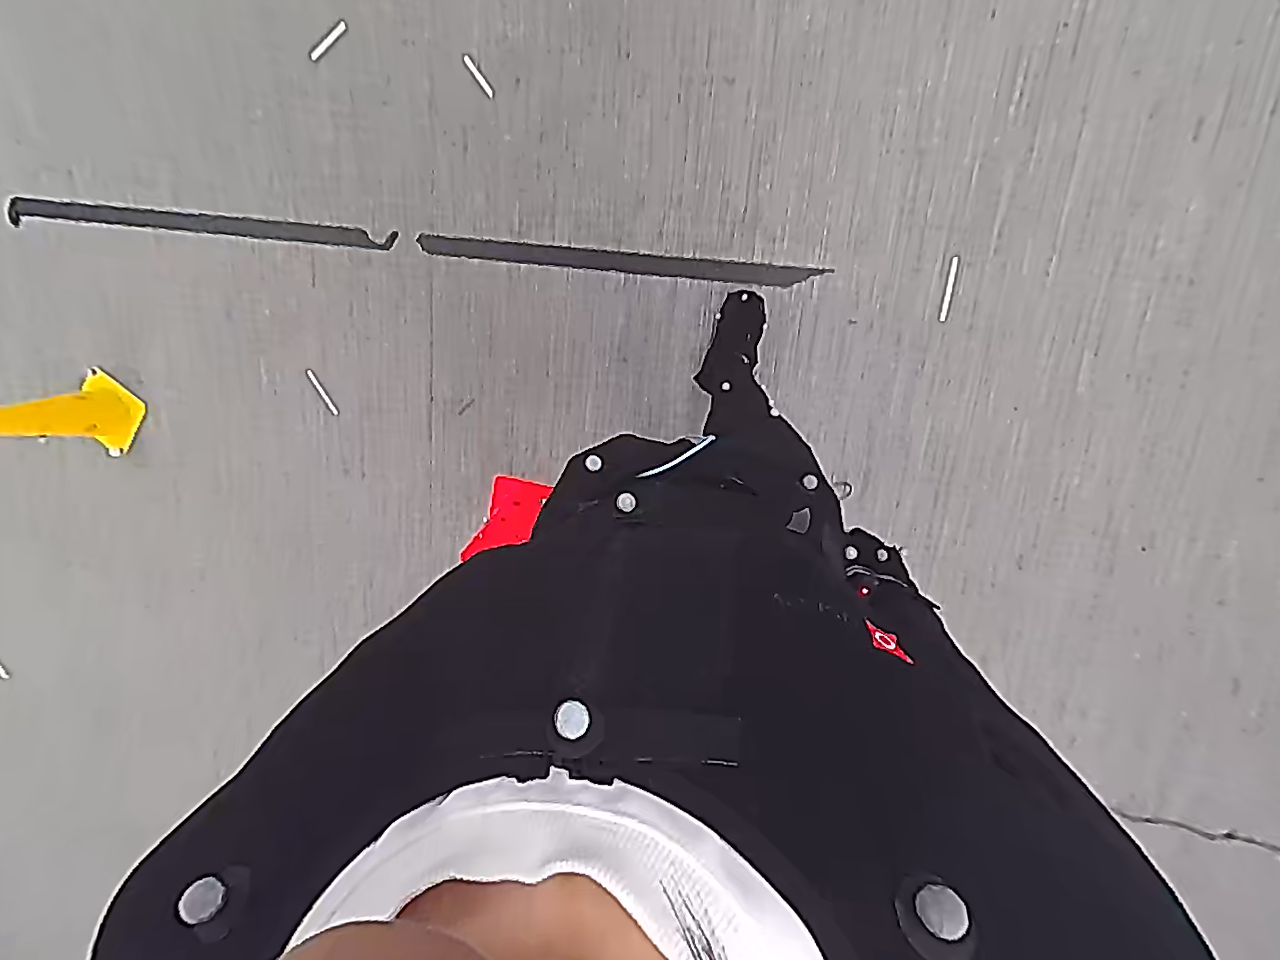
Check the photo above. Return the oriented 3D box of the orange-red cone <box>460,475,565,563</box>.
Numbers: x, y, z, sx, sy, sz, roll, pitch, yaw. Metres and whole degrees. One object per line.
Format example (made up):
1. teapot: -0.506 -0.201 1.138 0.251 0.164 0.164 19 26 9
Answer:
1. orange-red cone: -0.342 0.129 1.319 0.199 0.360 0.198 15 103 6
